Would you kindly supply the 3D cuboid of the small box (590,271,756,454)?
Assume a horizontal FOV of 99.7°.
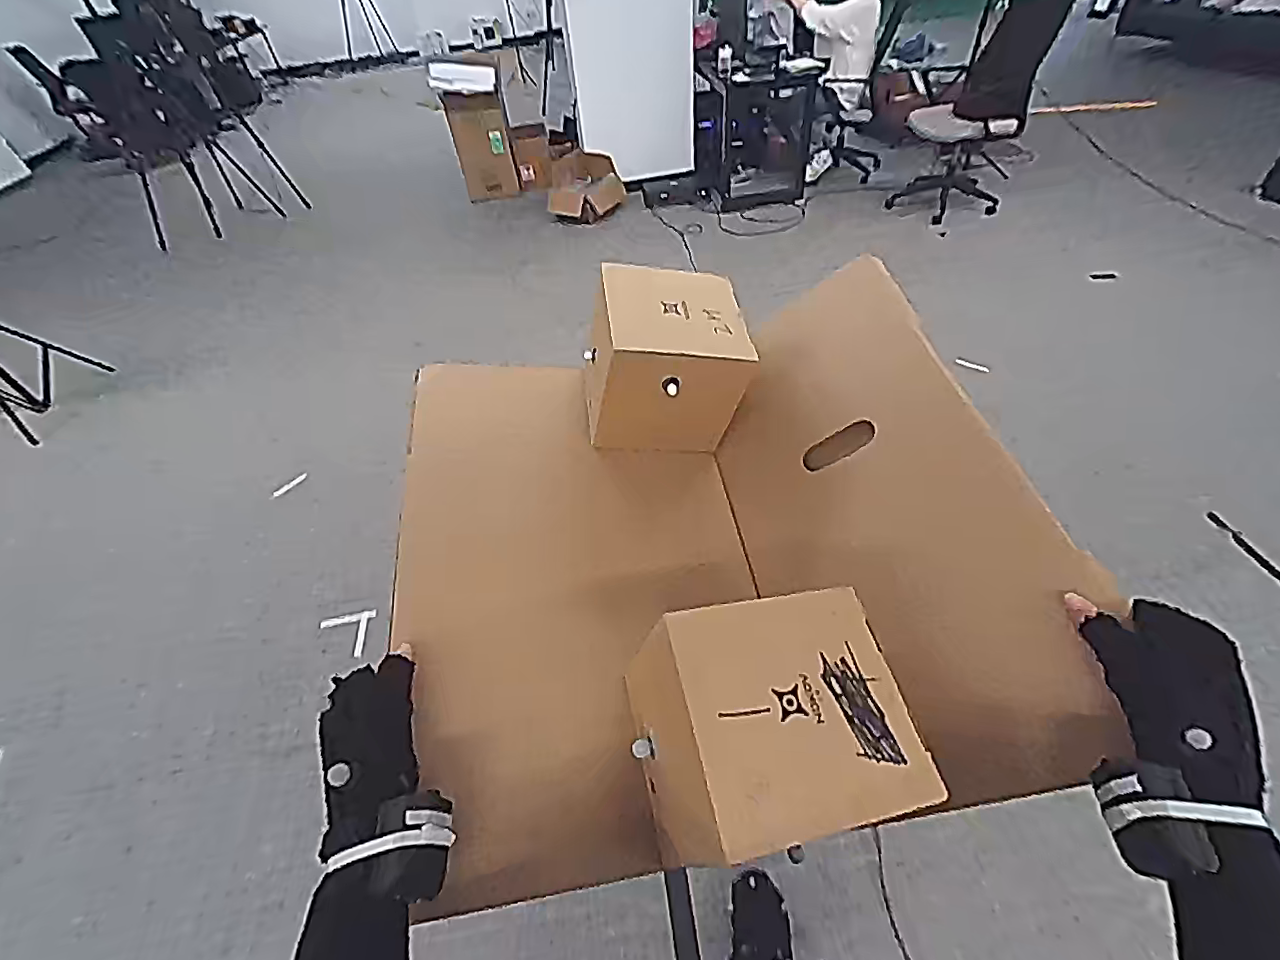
[{"bbox_3d":[0.029,-0.149,0.720,0.179,0.176,0.168,2,54,-14],"label":"small box"}]
